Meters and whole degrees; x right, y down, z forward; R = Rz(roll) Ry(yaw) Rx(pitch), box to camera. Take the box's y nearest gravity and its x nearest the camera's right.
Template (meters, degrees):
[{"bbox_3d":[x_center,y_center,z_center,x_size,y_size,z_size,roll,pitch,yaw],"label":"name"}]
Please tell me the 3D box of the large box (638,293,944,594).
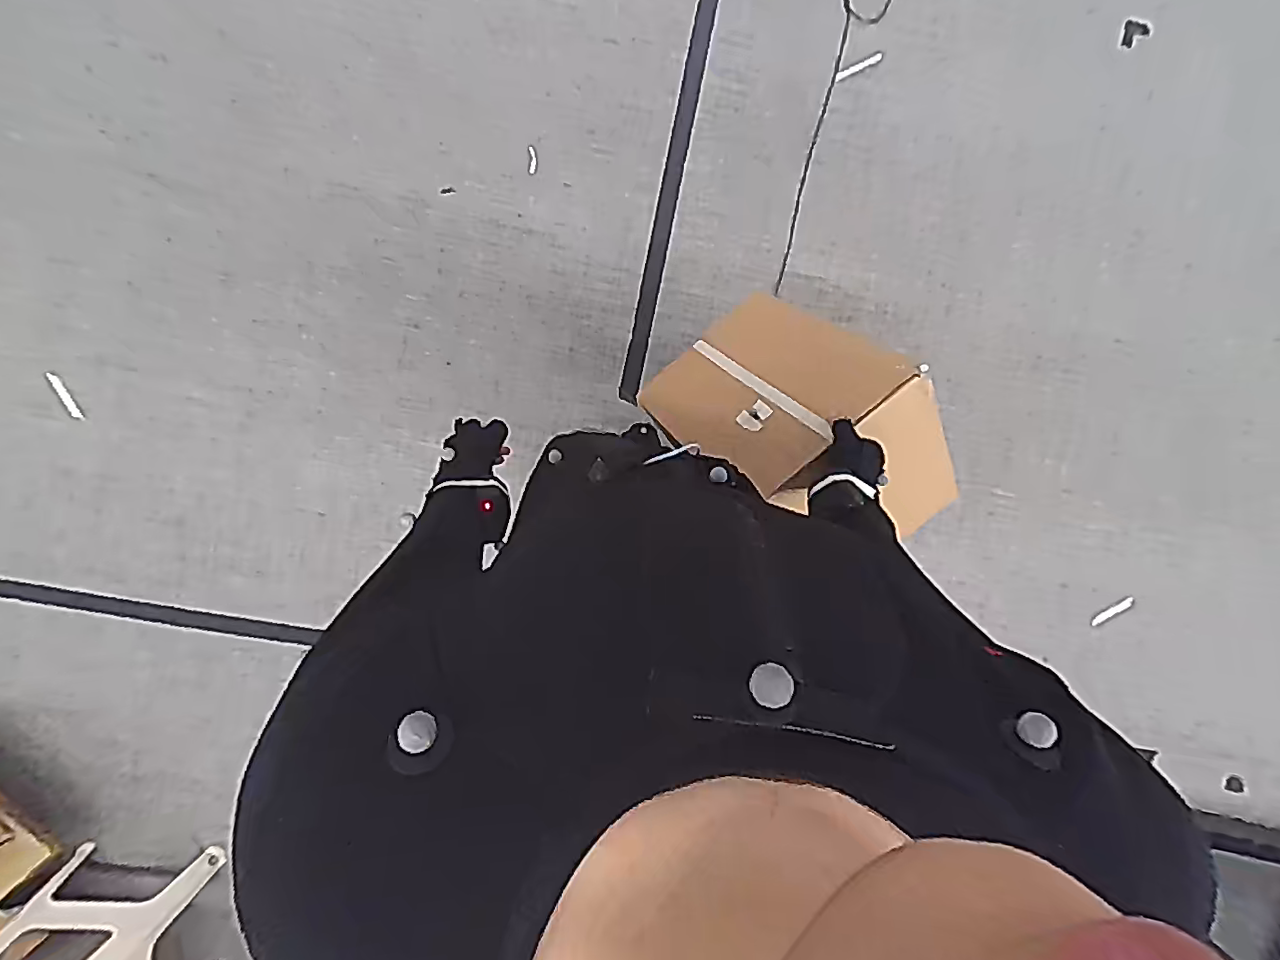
[{"bbox_3d":[0.264,-0.076,0.990,0.320,0.408,0.320,-40,132,3],"label":"large box"}]
